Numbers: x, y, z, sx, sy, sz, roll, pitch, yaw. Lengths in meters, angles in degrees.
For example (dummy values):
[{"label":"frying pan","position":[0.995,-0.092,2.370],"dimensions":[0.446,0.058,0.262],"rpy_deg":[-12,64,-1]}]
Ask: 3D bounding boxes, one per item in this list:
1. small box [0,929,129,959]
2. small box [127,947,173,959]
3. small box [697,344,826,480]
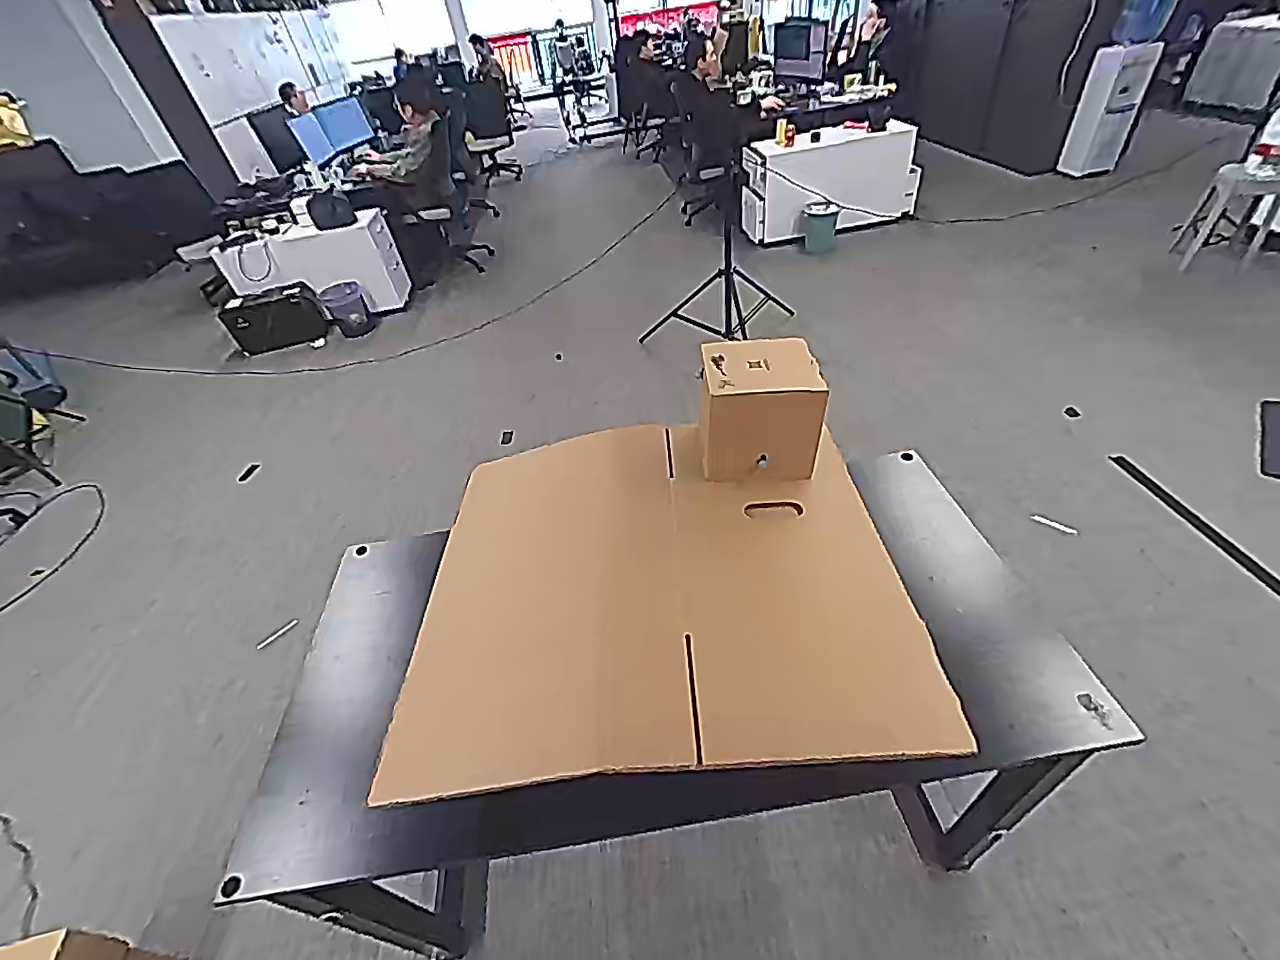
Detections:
[{"label":"small box","position":[-1.142,0.997,1.025],"dimensions":[0.168,0.176,0.179],"rpy_deg":[-14,41,-6]},{"label":"small box","position":[-1.121,1.121,1.129],"dimensions":[0.168,0.176,0.179],"rpy_deg":[-13,42,-3]},{"label":"small box","position":[0.190,-0.113,0.904],"dimensions":[0.179,0.176,0.168],"rpy_deg":[-2,40,1]}]
